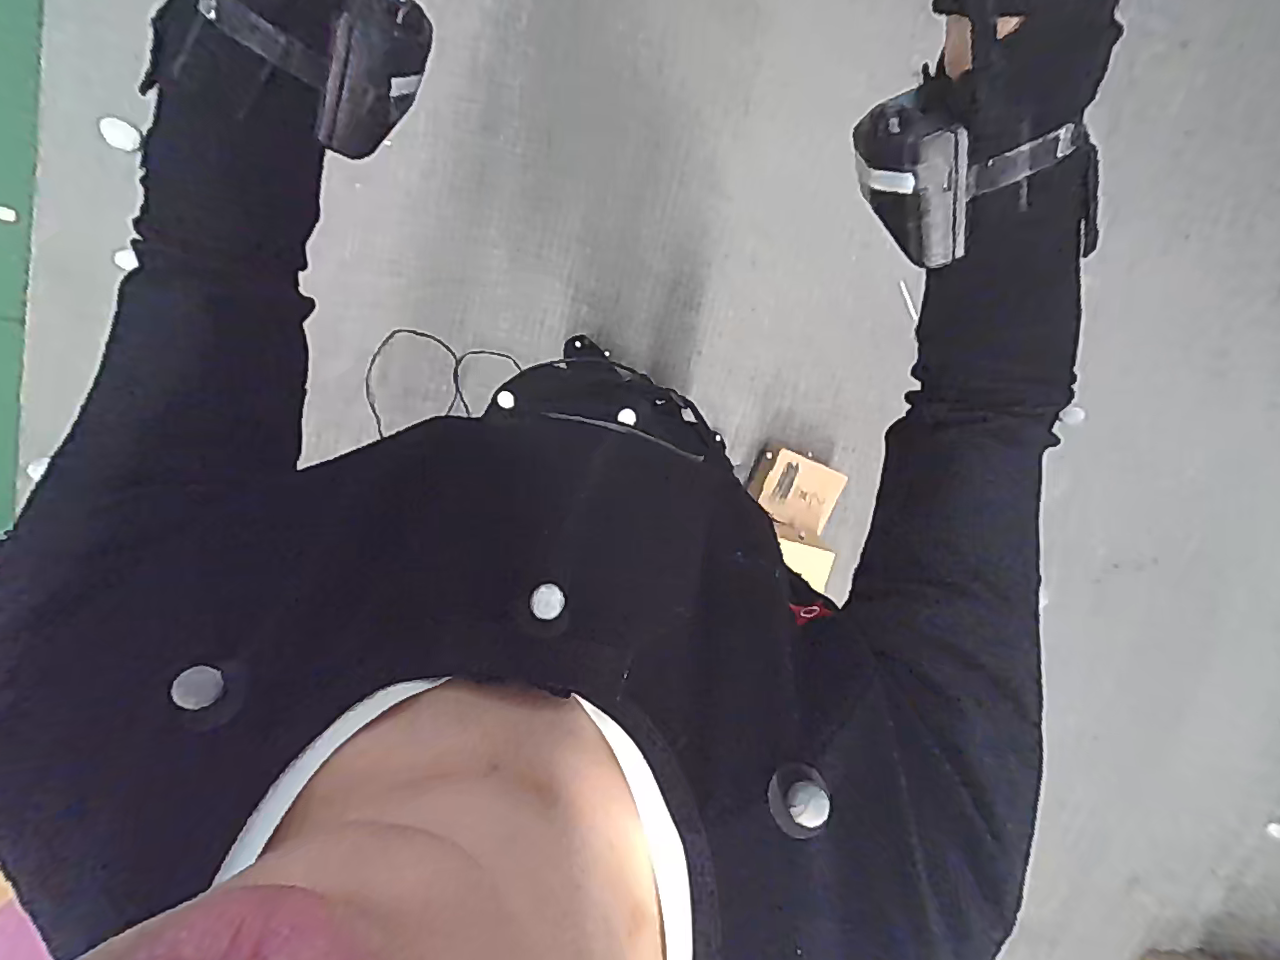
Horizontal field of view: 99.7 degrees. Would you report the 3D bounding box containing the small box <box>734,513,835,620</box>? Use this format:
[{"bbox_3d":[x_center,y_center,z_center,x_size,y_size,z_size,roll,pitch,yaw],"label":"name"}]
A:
[{"bbox_3d":[0.319,0.189,1.239,0.168,0.176,0.179,15,101,1],"label":"small box"}]
